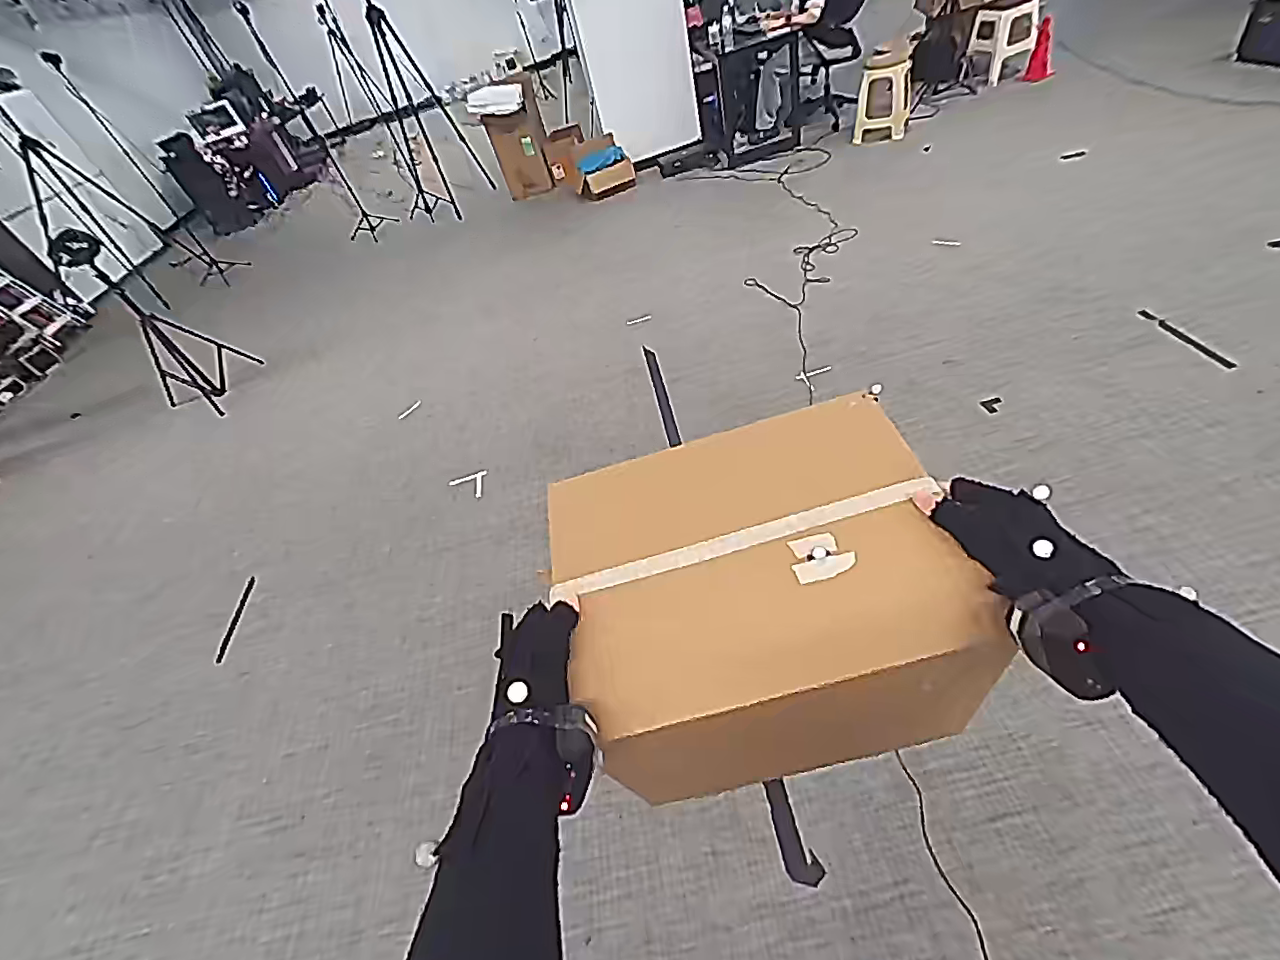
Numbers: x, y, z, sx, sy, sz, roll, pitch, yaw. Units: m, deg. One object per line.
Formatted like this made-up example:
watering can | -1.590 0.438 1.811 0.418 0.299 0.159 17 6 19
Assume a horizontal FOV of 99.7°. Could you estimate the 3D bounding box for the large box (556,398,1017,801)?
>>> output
large box | 0.143 0.160 0.680 0.408 0.320 0.320 -16 49 4
